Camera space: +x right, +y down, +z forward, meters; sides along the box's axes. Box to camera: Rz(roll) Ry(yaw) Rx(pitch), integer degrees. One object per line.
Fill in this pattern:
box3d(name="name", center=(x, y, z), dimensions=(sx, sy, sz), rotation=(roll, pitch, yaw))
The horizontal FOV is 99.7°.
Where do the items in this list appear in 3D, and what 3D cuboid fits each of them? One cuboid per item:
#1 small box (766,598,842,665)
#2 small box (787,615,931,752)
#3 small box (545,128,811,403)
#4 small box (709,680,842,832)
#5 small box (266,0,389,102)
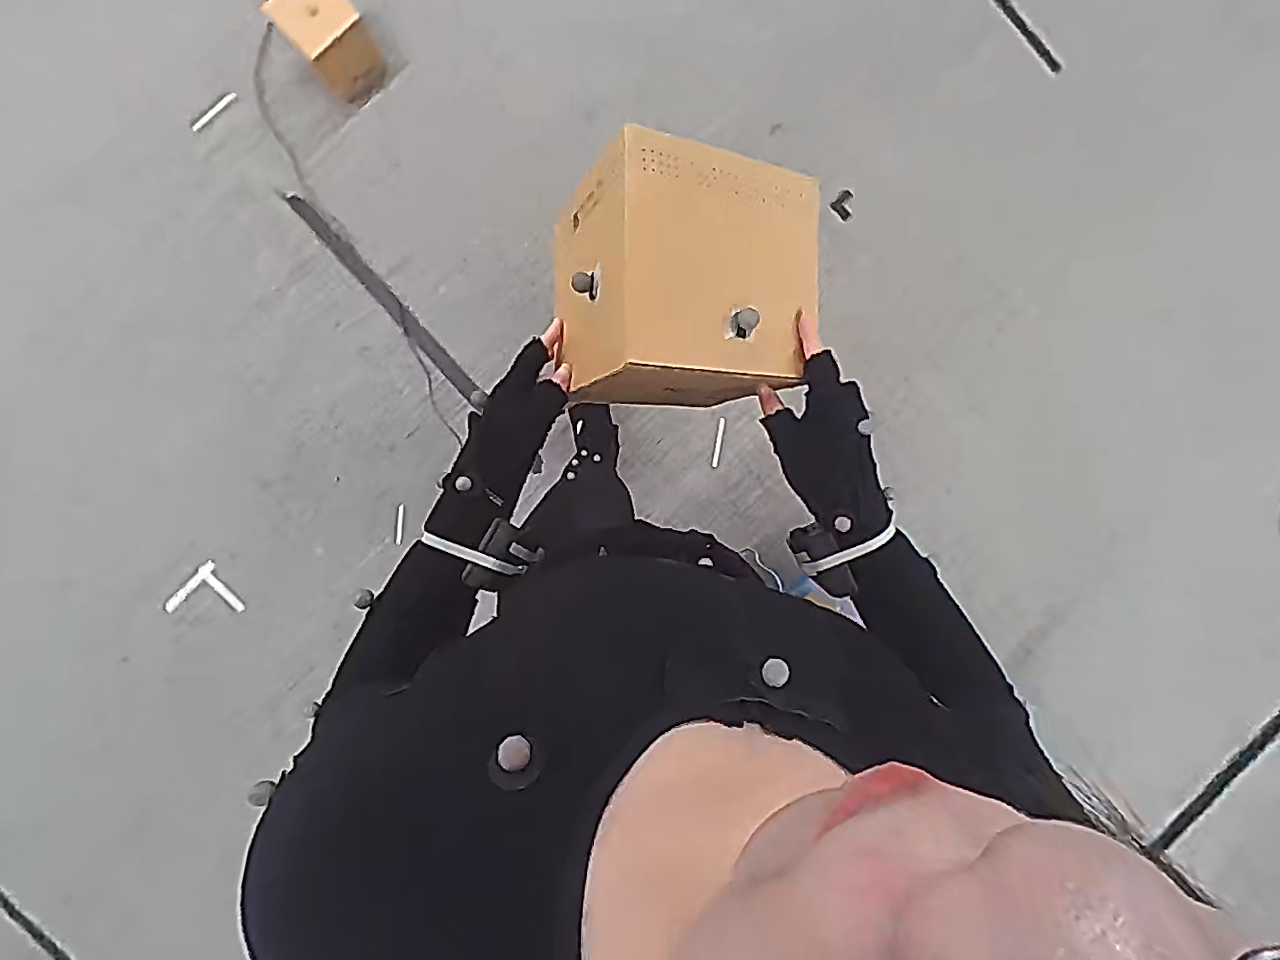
box3d(name="small box", center=(0.420, 0.392, 1.251), dimensions=(0.168, 0.176, 0.179), rotation=(-44, 92, 0))
box3d(name="small box", center=(0.426, 0.393, 1.086), dimensions=(0.179, 0.176, 0.168), rotation=(44, 90, -1))
box3d(name="small box", center=(0.022, -0.165, 0.470), dimensions=(0.179, 0.168, 0.176), rotation=(-3, 91, -26))
box3d(name="small box", center=(0.260, 0.538, 1.081), dimensions=(0.168, 0.176, 0.179), rotation=(-40, 91, 0))
box3d(name="small box", center=(-0.790, -1.132, 1.385), dimensions=(0.168, 0.176, 0.179), rotation=(-42, 92, 0))
